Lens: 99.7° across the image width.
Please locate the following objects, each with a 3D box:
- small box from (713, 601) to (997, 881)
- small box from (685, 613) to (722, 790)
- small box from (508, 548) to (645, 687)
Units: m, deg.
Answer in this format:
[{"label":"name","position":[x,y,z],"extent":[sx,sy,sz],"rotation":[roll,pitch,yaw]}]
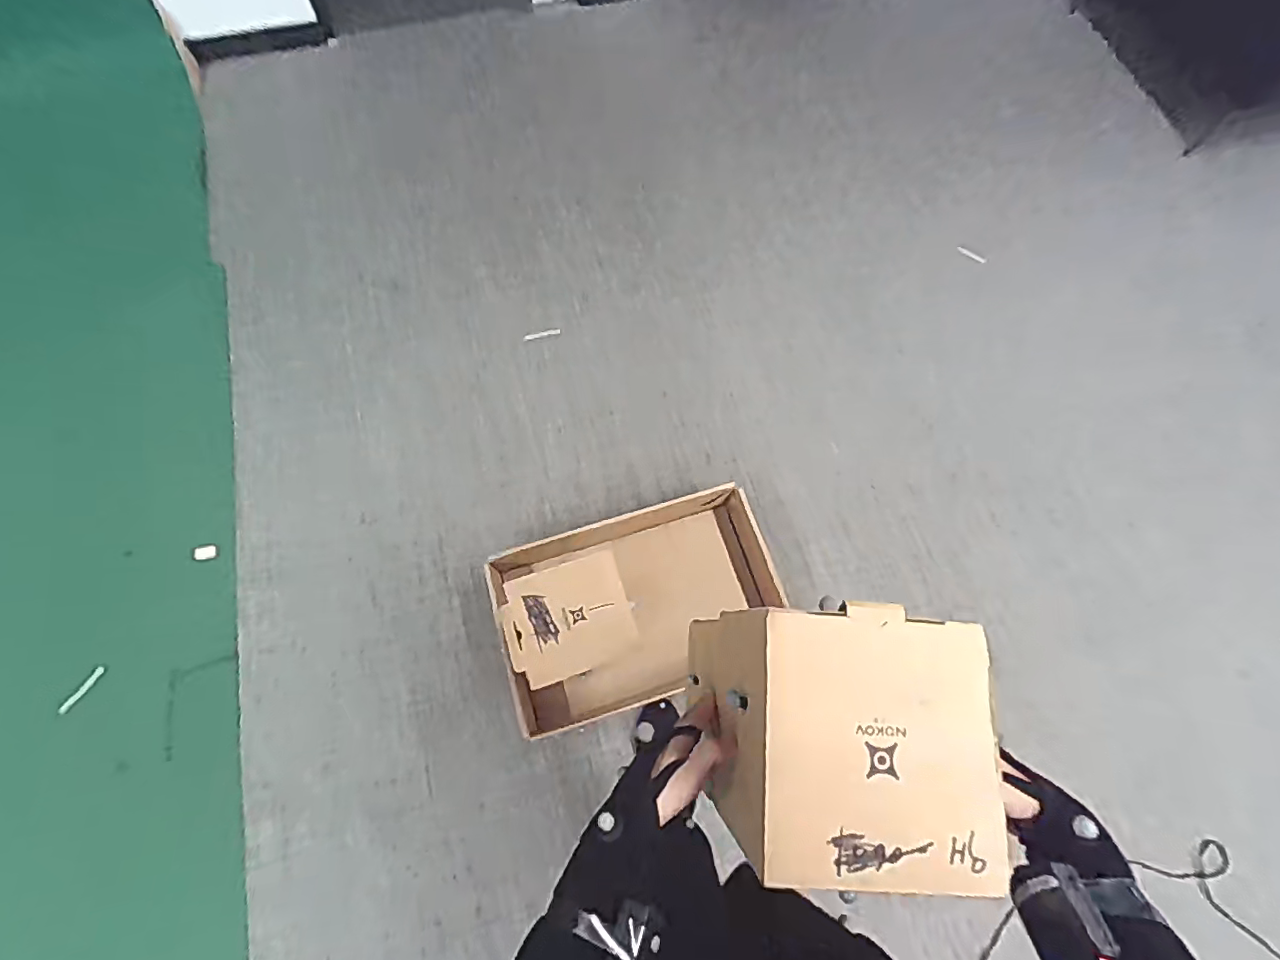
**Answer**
[{"label":"small box","position":[0.158,0.199,0.457],"extent":[0.168,0.176,0.179],"rotation":[4,76,-2]},{"label":"small box","position":[0.153,0.242,0.614],"extent":[0.179,0.176,0.168],"rotation":[5,76,-2]},{"label":"small box","position":[-0.101,0.230,0.898],"extent":[0.179,0.176,0.168],"rotation":[-18,75,-9]}]
